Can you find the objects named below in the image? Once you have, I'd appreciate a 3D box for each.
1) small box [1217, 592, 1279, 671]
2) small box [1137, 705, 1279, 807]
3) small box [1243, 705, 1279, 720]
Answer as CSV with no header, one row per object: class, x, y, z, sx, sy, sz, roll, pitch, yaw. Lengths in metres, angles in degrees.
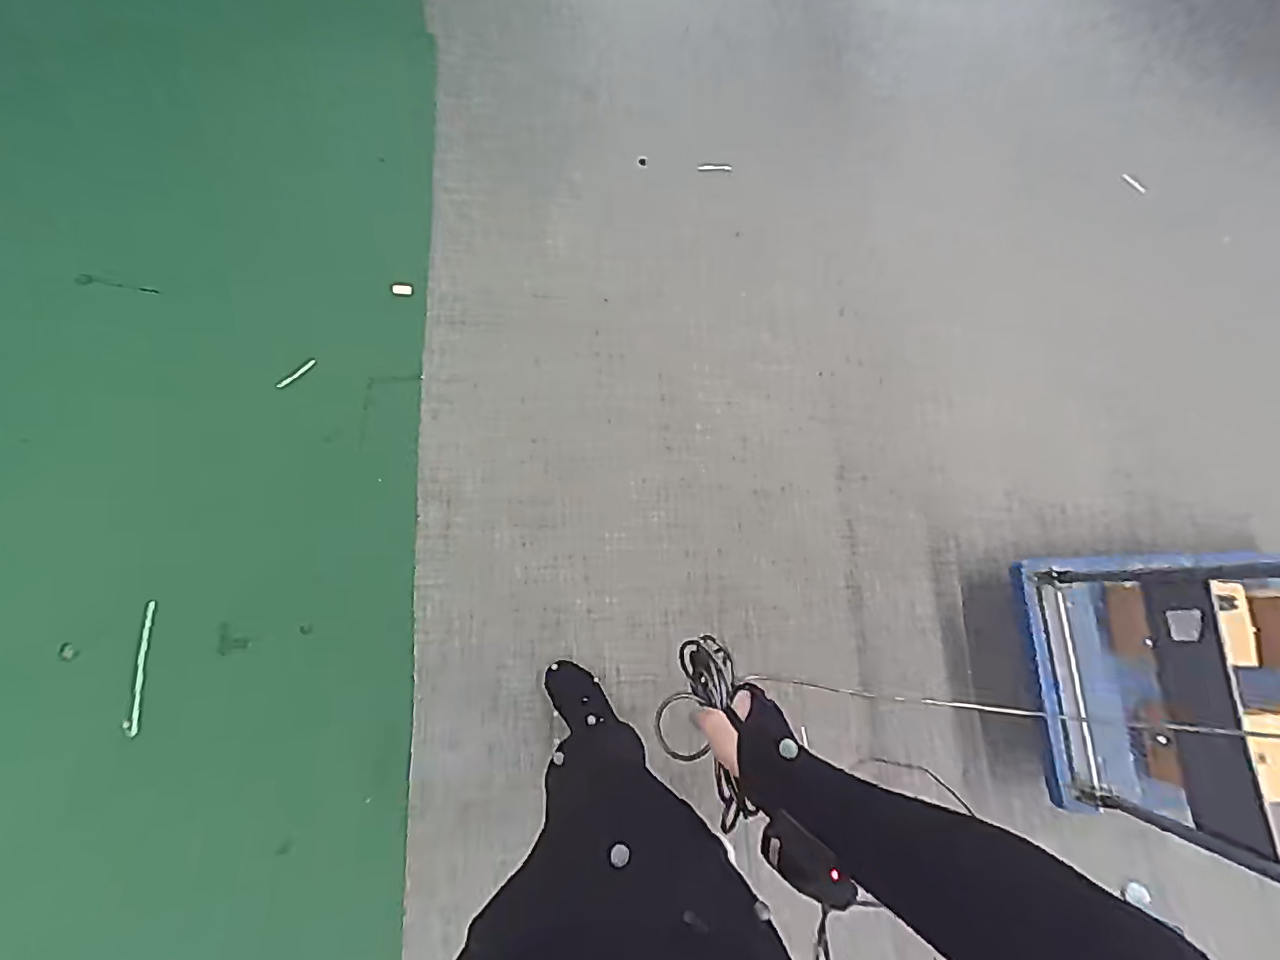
small box,1.504,0.348,1.249,0.179,0.176,0.168,-4,79,-4
small box,1.261,0.595,1.186,0.179,0.176,0.168,0,78,-2
small box,1.518,0.599,1.196,0.179,0.176,0.168,-3,77,-3
